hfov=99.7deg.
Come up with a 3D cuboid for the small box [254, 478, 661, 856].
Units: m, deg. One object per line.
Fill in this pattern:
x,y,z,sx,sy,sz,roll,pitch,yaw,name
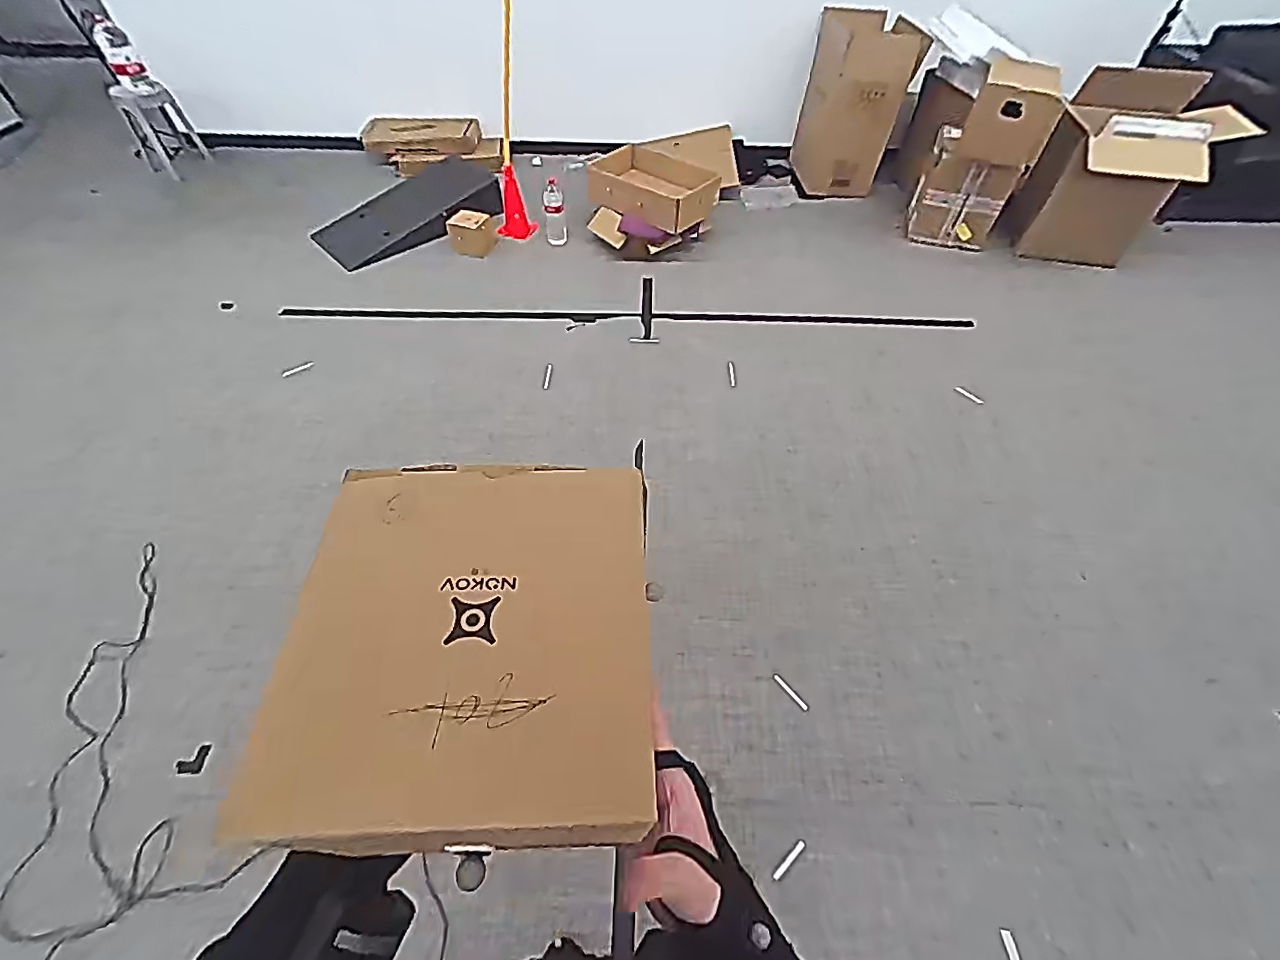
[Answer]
-0.080,0.117,0.331,0.168,0.176,0.179,-2,54,-3,small box
